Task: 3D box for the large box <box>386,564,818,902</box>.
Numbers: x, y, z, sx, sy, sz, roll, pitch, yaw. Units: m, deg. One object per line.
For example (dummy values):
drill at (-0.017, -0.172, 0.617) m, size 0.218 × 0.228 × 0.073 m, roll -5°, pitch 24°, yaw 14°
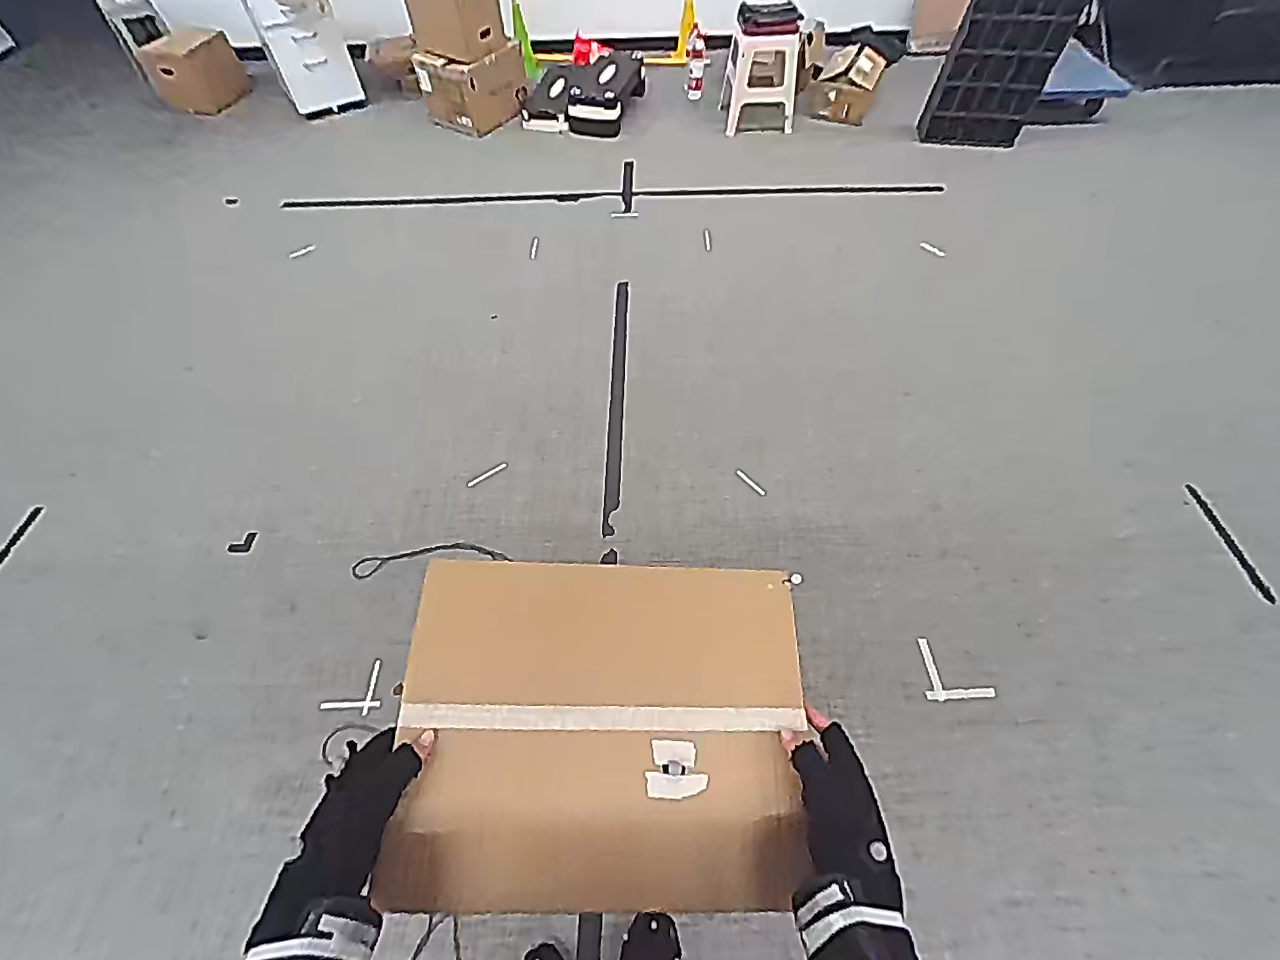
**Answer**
large box at (-0.043, 0.305, 0.689) m, size 0.408 × 0.320 × 0.320 m, roll 3°, pitch 65°, yaw -4°
